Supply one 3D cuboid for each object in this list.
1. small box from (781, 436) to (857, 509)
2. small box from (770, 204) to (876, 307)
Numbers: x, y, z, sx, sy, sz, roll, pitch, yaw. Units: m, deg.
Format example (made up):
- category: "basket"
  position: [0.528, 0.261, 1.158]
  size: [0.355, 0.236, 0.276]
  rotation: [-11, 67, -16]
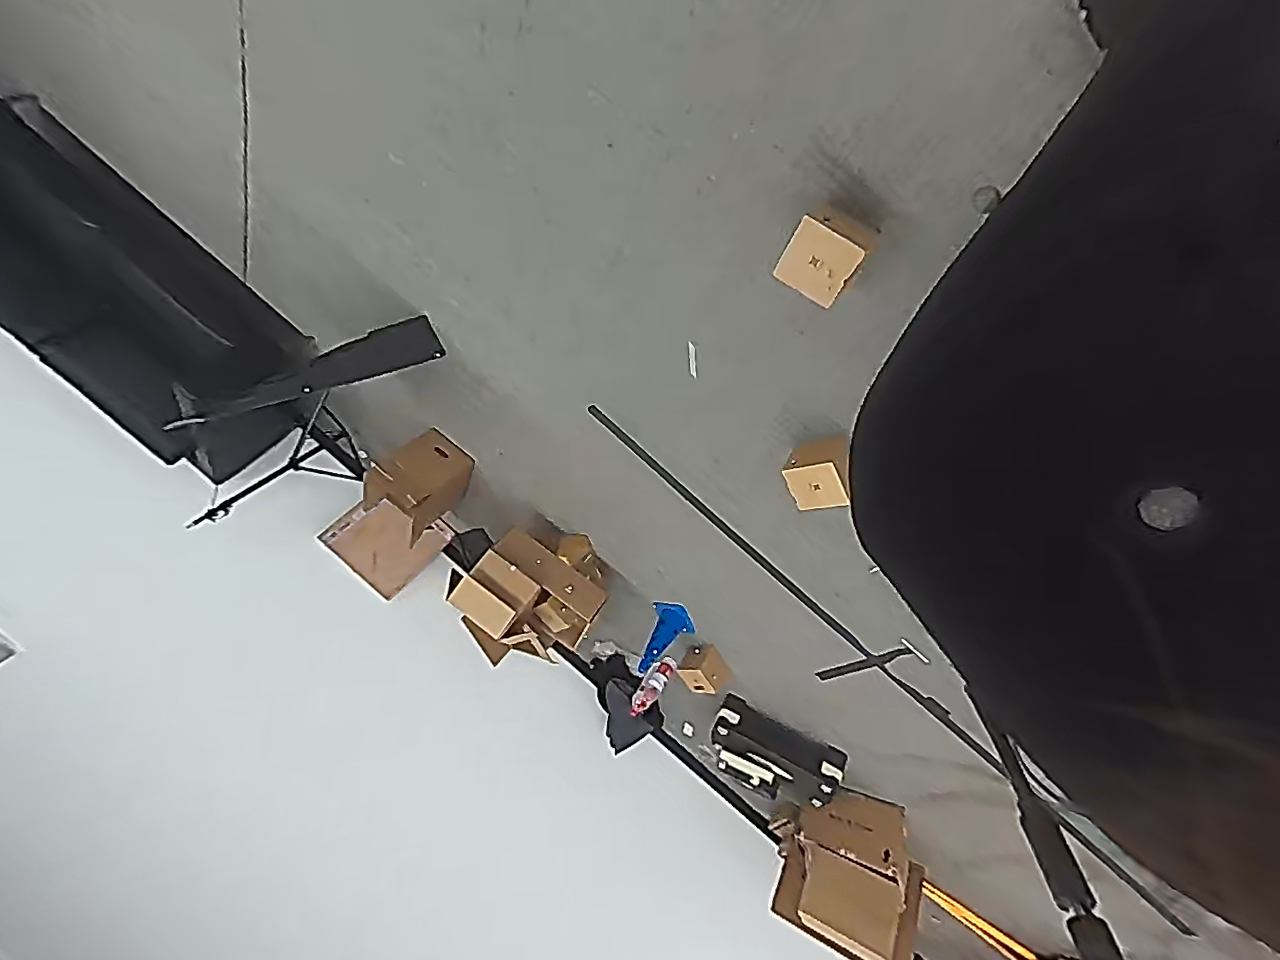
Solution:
- category: "small box"
  position: [0.591, -0.026, 1.764]
  size: [0.179, 0.176, 0.168]
  rotation: [-11, 117, 42]
- category: "small box"
  position: [0.469, -0.580, 1.381]
  size: [0.179, 0.176, 0.168]
  rotation: [35, 138, 6]
